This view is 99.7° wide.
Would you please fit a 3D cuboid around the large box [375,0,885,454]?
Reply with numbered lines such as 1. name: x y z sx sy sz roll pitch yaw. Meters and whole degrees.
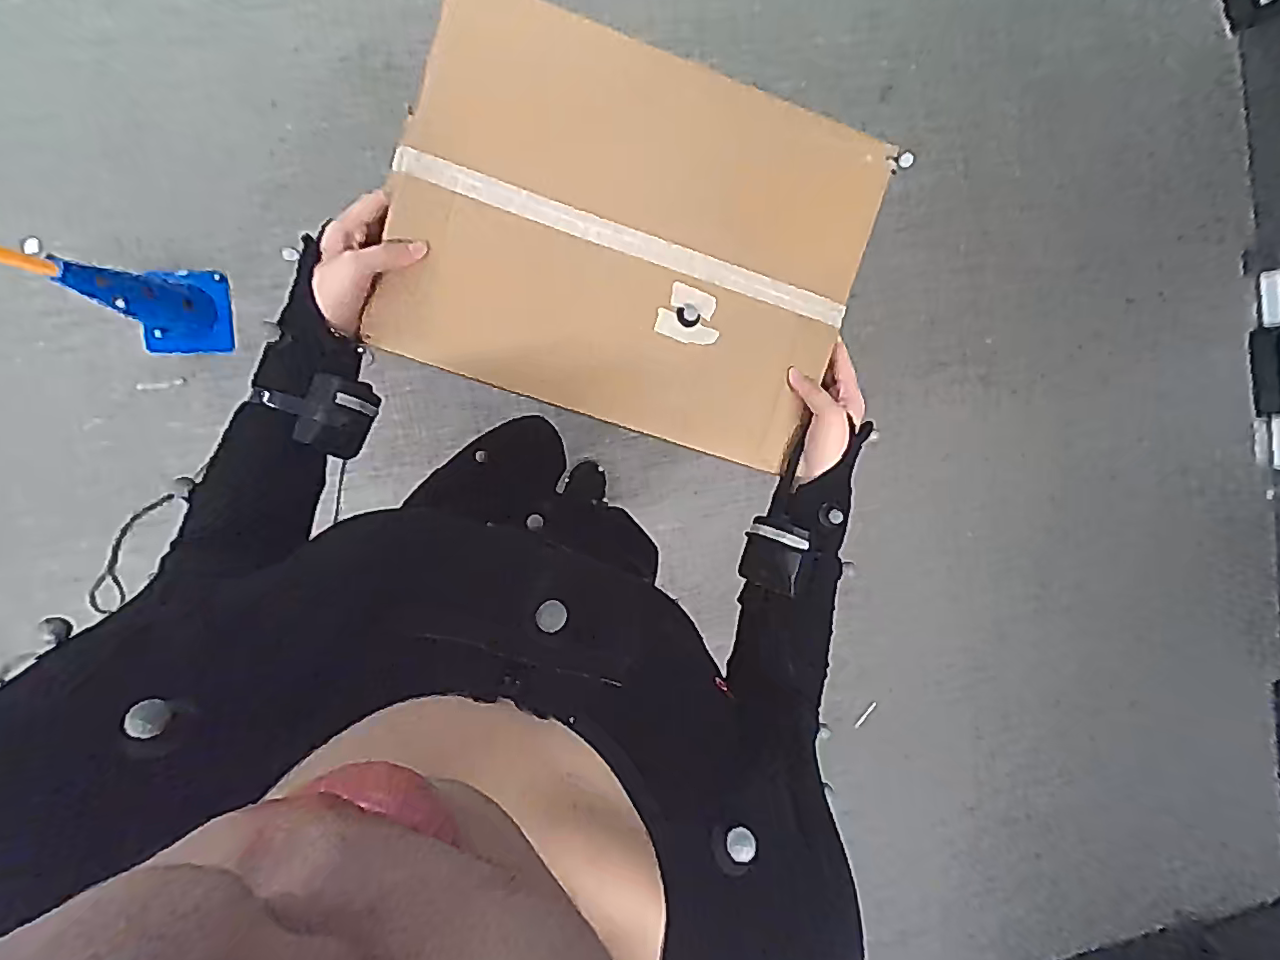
1. large box: -0.020 -0.238 0.629 0.408 0.320 0.320 16 96 -8

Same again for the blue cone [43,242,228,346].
1. blue cone: -1.099 -0.418 1.172 0.193 0.380 0.192 -1 93 -8
